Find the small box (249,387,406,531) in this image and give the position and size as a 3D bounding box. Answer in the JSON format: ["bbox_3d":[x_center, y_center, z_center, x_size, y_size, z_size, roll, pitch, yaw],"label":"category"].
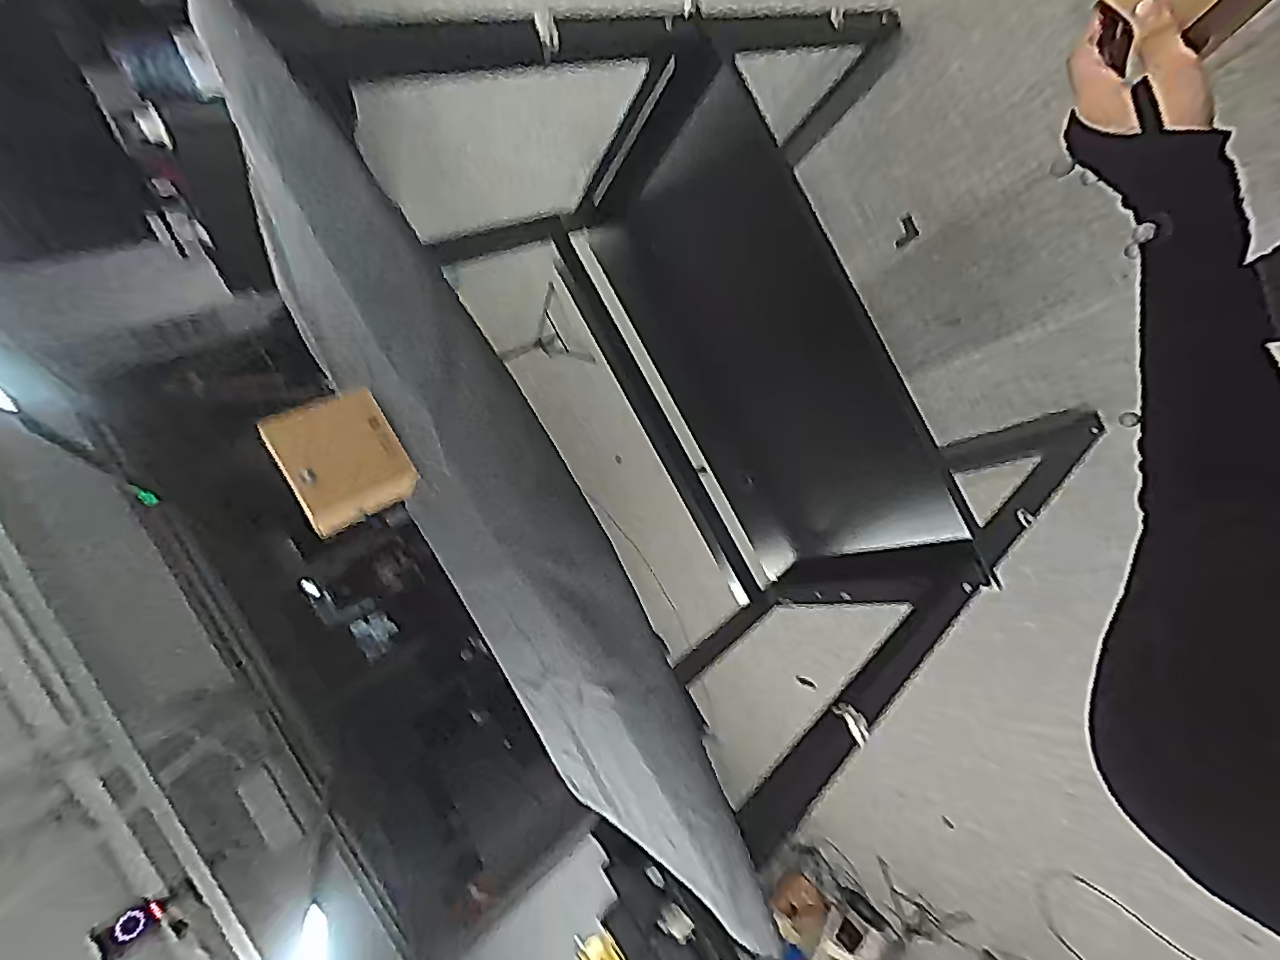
[{"bbox_3d":[-0.517,-0.032,0.917,0.168,0.176,0.179,60,150,-2],"label":"small box"}]
